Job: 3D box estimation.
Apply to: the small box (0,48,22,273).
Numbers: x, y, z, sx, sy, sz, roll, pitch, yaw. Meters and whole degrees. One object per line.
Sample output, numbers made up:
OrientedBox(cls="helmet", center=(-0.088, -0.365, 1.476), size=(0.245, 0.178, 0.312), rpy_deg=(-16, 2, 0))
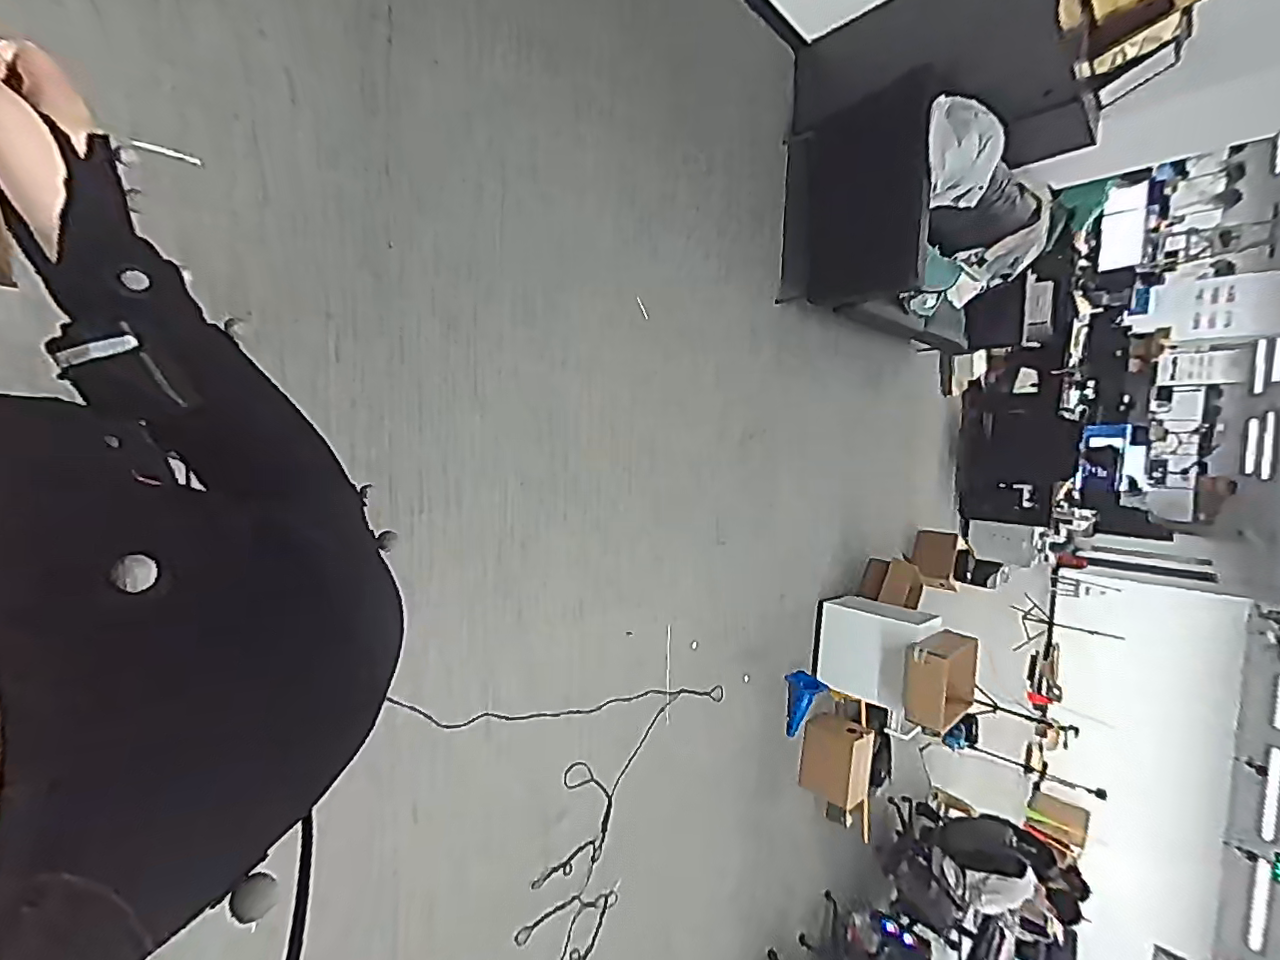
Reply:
OrientedBox(cls="small box", center=(-0.478, -0.230, 0.297), size=(0.168, 0.176, 0.179), rpy_deg=(-4, 100, -44))
